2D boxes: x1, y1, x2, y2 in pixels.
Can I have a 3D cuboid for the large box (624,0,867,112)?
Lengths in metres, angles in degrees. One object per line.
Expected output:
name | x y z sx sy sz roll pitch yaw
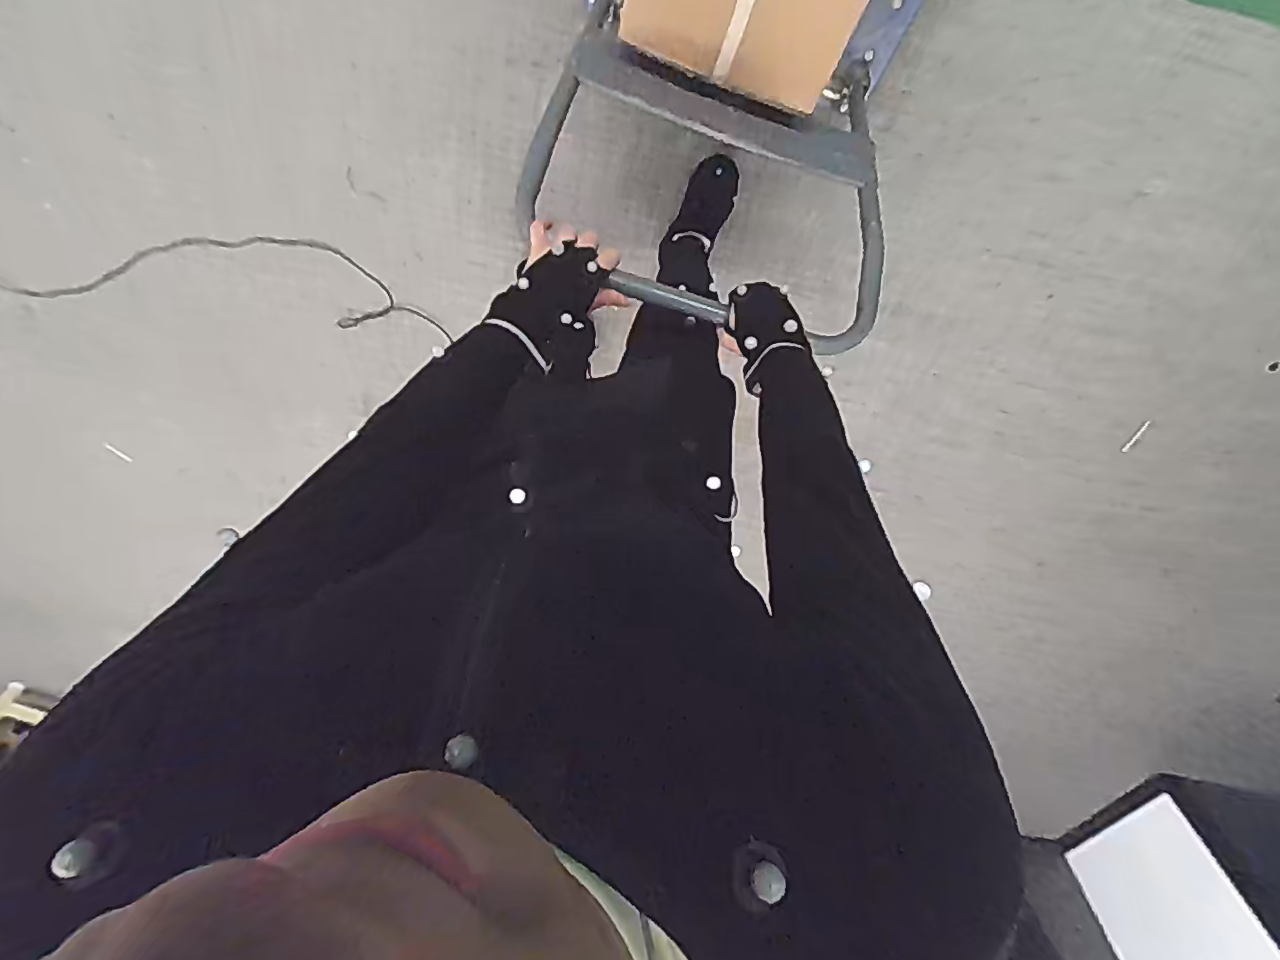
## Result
large box | 0.192 -0.828 0.740 0.320 0.320 0.408 15 145 -10
